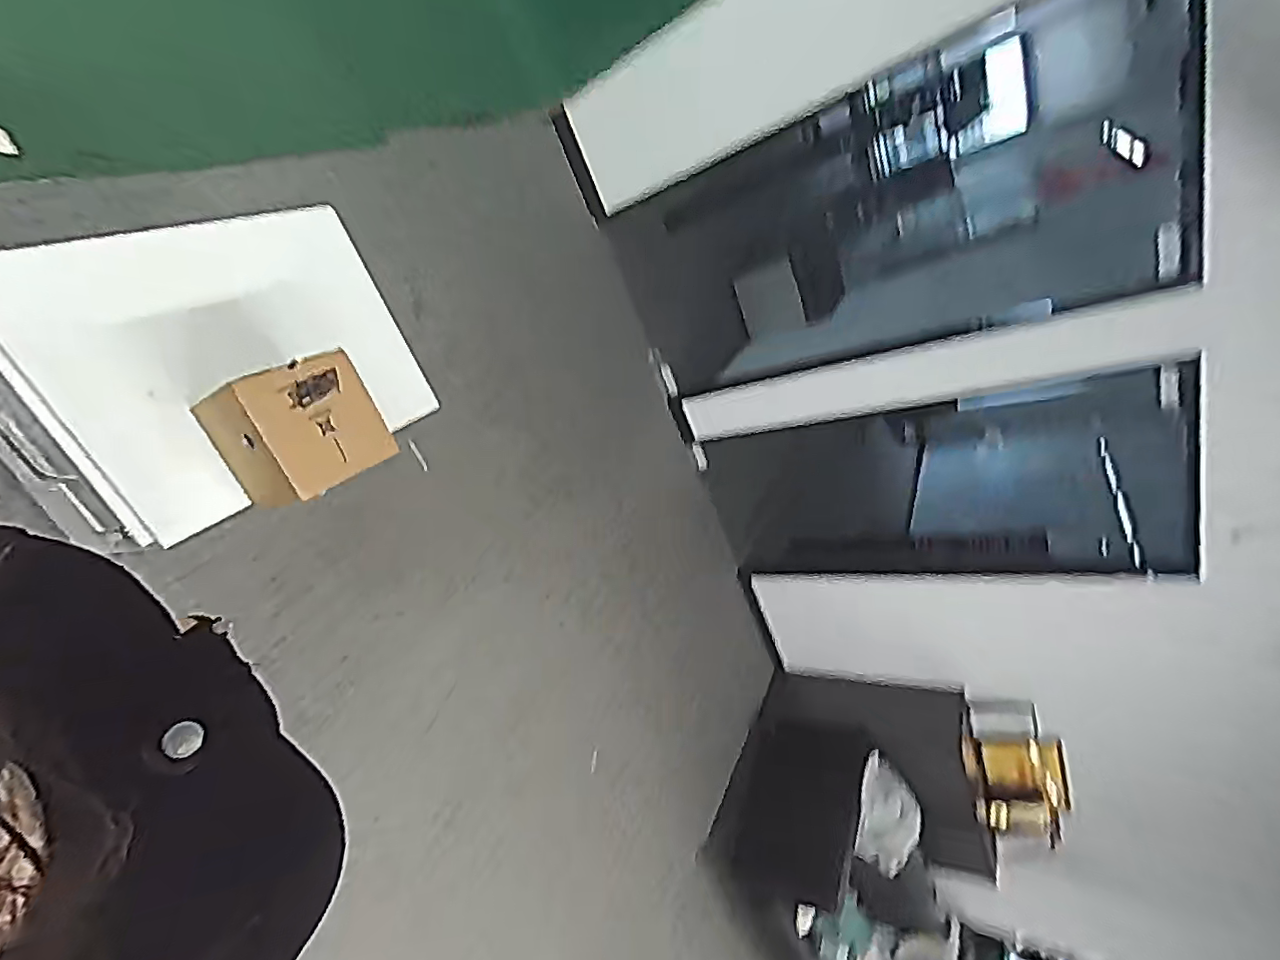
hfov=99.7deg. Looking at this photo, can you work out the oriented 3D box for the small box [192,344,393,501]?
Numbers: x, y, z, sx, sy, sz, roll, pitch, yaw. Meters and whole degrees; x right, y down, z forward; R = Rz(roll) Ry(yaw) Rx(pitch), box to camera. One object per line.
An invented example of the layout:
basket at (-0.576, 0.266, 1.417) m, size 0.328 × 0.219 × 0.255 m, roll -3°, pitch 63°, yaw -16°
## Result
small box at (-0.524, -0.083, 0.819) m, size 0.168 × 0.176 × 0.179 m, roll -43°, pitch 118°, yaw -48°
